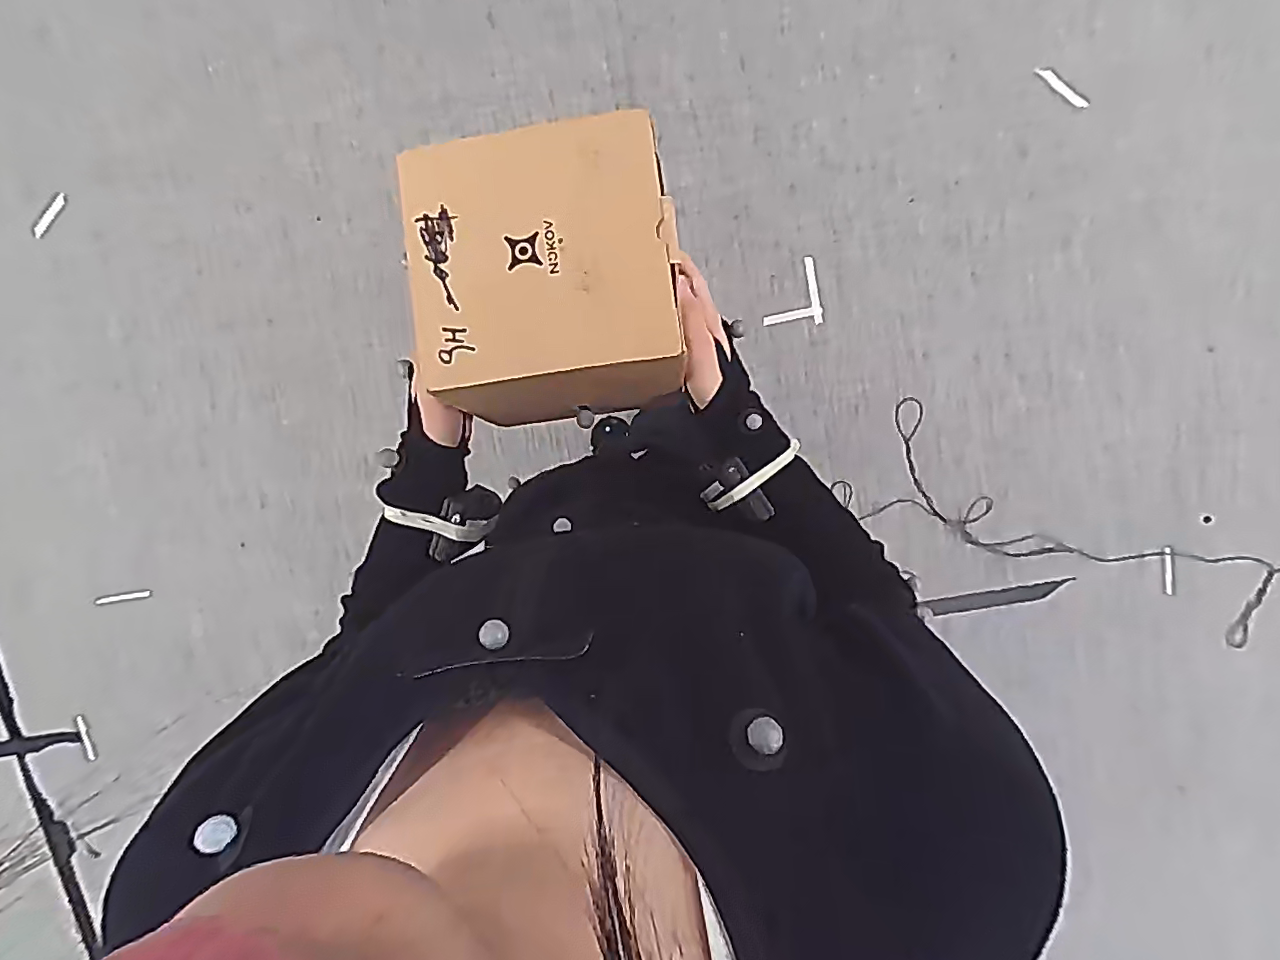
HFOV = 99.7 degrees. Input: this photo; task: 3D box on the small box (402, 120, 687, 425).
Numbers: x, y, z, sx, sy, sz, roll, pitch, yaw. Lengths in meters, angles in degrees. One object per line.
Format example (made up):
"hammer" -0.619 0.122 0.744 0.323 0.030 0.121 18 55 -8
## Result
"small box" -0.063 -0.144 0.434 0.179 0.176 0.168 -7 86 2
